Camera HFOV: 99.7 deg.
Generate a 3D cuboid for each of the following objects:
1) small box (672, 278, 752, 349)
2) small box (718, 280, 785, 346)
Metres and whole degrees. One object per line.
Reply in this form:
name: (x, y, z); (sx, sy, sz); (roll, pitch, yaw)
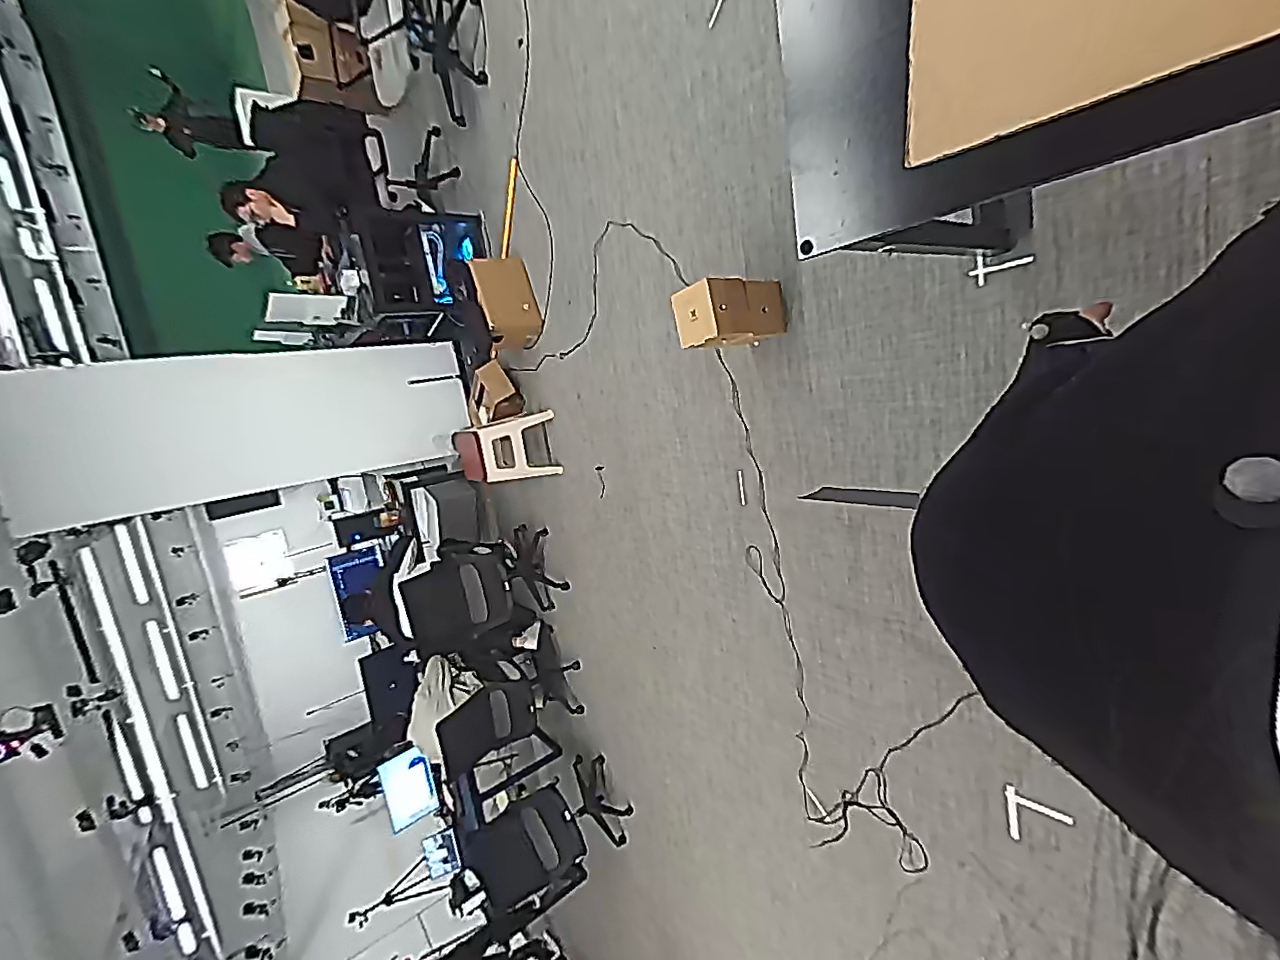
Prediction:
small box: (0.230, -0.524, 1.702); (0.168, 0.176, 0.179); (-7, 96, 53)
small box: (0.360, -0.554, 1.796); (0.168, 0.176, 0.179); (-2, 102, 54)
